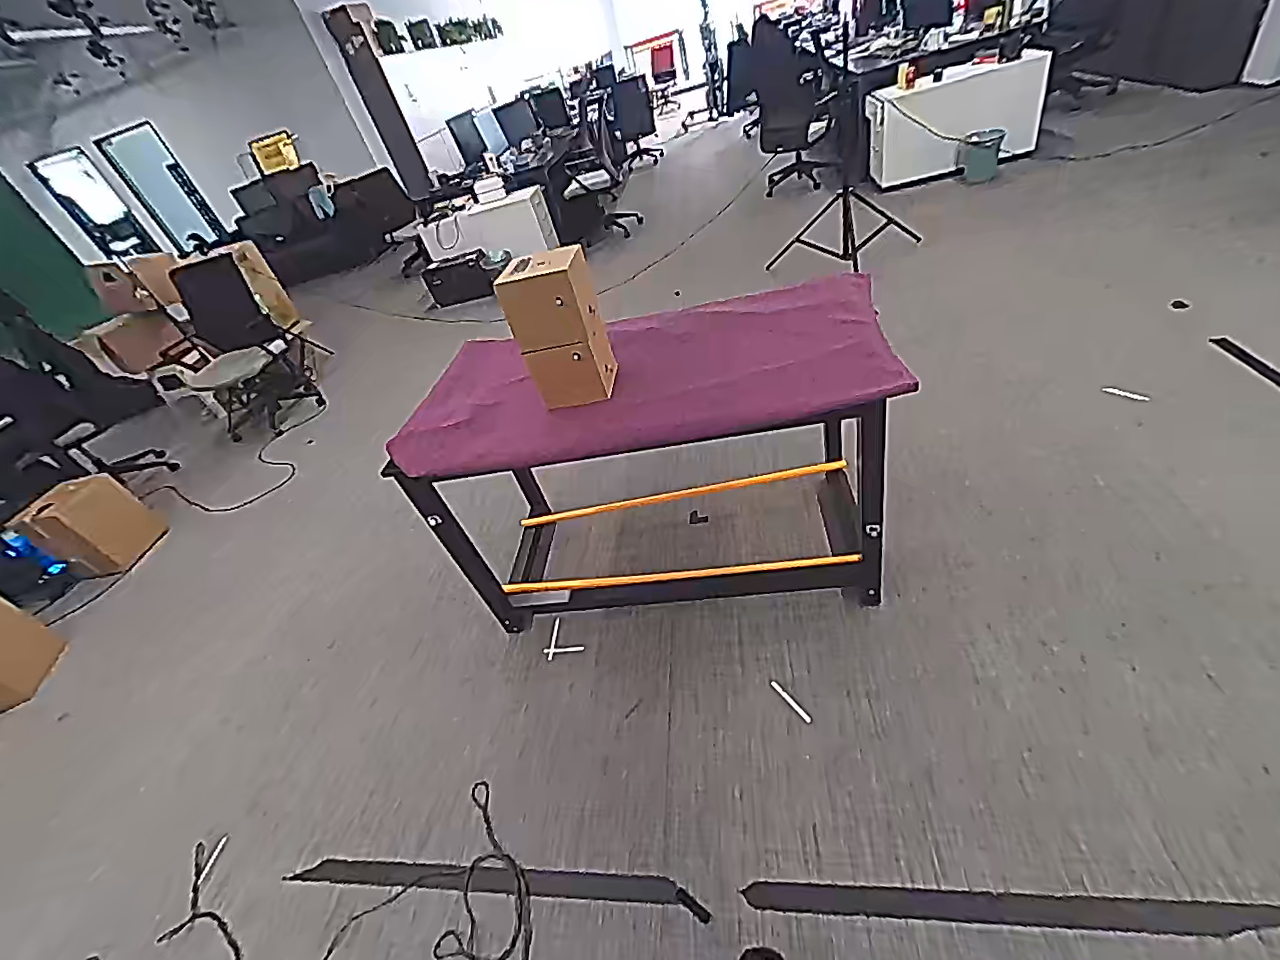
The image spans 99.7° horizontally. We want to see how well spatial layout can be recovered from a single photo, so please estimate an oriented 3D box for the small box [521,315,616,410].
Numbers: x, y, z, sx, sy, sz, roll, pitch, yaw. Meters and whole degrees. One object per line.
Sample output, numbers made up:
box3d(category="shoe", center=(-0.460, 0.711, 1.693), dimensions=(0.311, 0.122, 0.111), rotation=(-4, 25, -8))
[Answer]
box3d(category="small box", center=(-0.175, -0.293, 1.376), dimensions=(0.179, 0.176, 0.168), rotation=(-7, 39, 13))
